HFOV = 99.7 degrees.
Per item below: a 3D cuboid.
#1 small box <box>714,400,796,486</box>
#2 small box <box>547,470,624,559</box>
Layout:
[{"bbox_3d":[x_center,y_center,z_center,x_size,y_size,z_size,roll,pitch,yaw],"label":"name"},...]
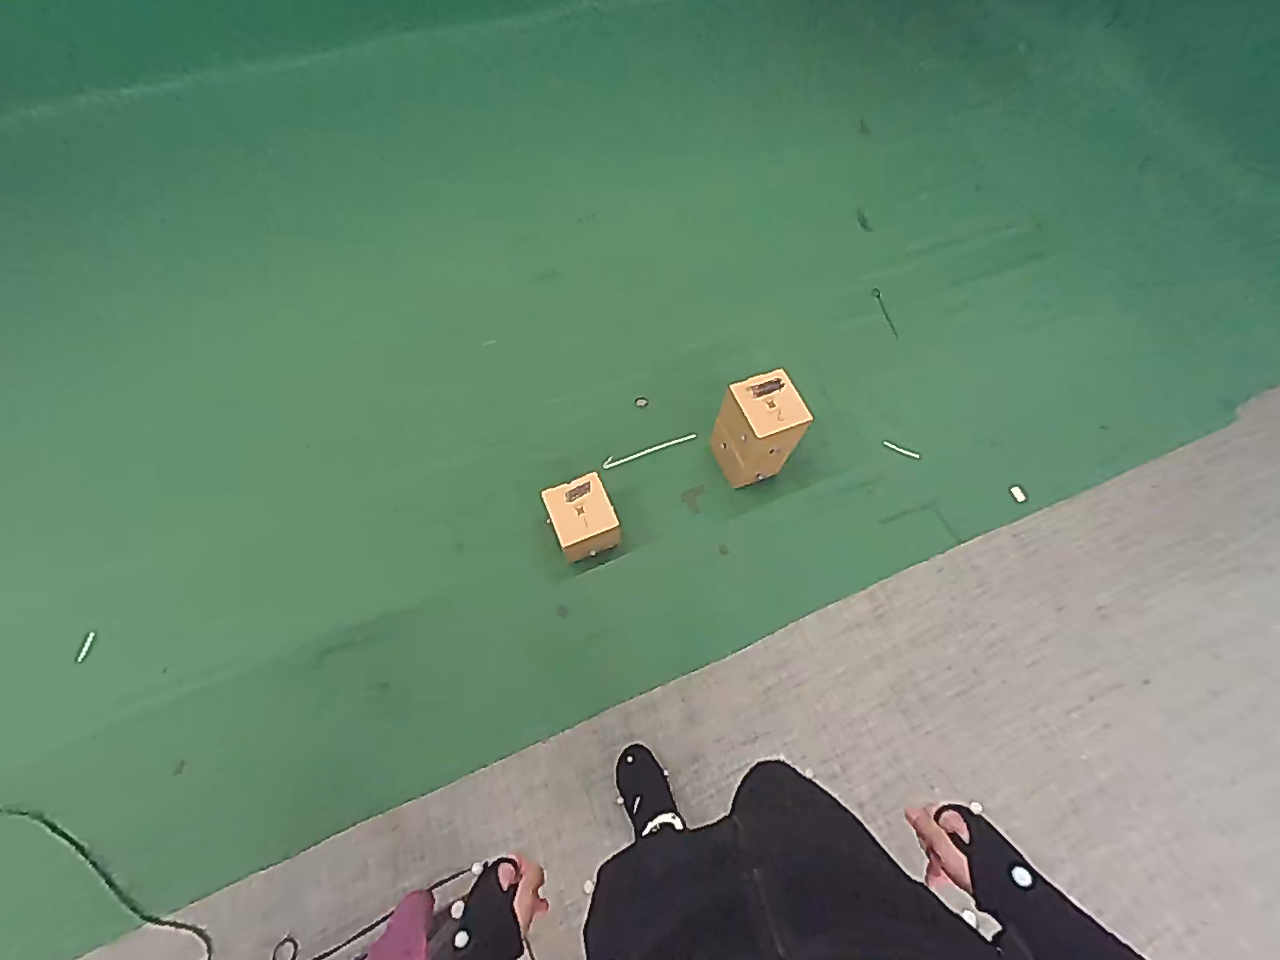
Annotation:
[{"bbox_3d":[0.340,-0.110,1.645,0.168,0.176,0.179,-19,68,-10],"label":"small box"},{"bbox_3d":[-0.154,0.102,1.535,0.168,0.176,0.179,-21,69,-10],"label":"small box"}]
